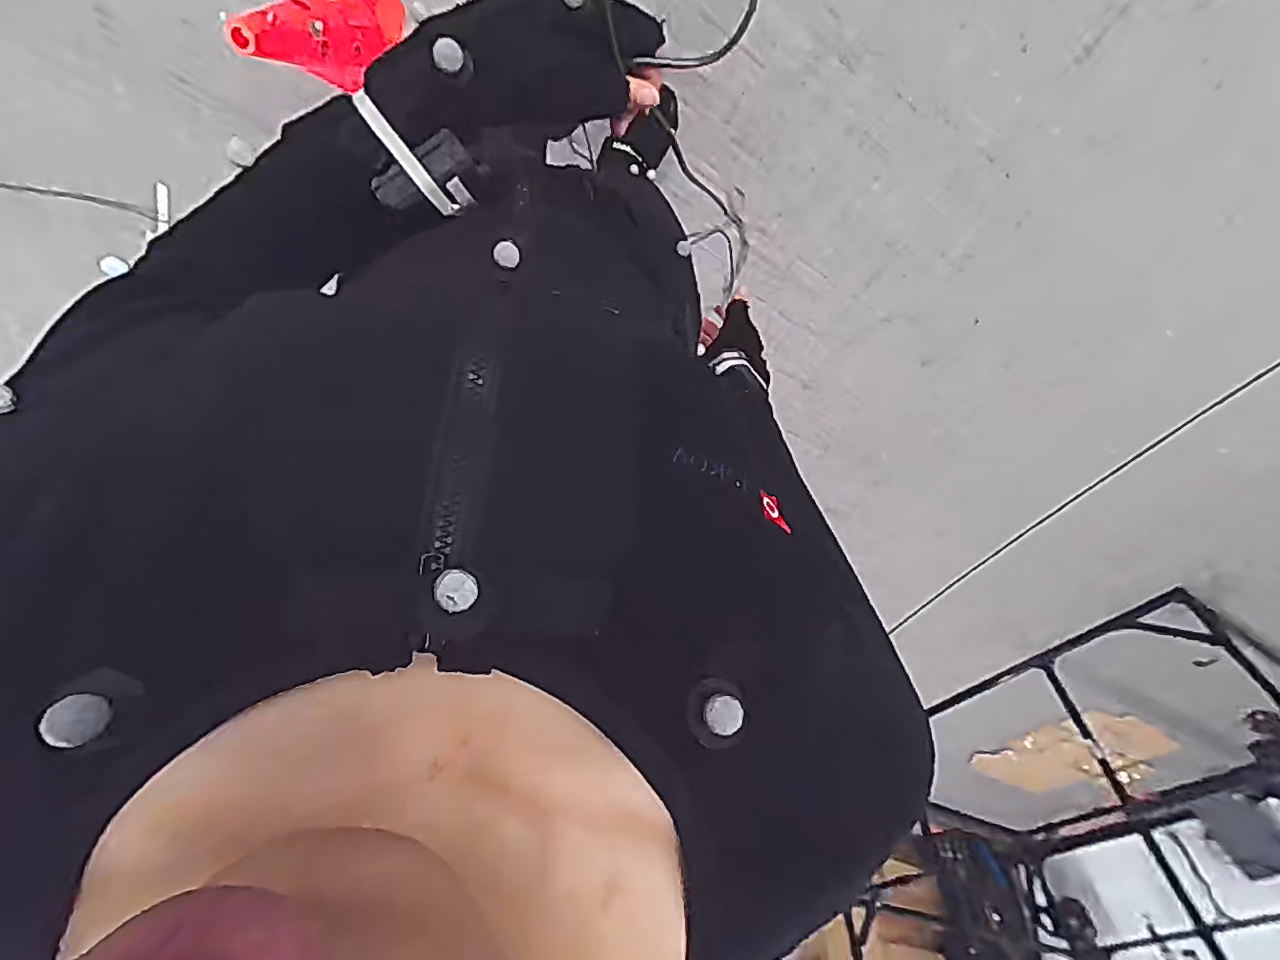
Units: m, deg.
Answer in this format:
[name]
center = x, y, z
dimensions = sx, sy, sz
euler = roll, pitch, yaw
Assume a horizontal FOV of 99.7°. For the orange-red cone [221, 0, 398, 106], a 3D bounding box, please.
[orange-red cone]
center = -0.578, -0.753, 0.903
dimensions = 0.198, 0.360, 0.199
euler = 22, 127, -17
